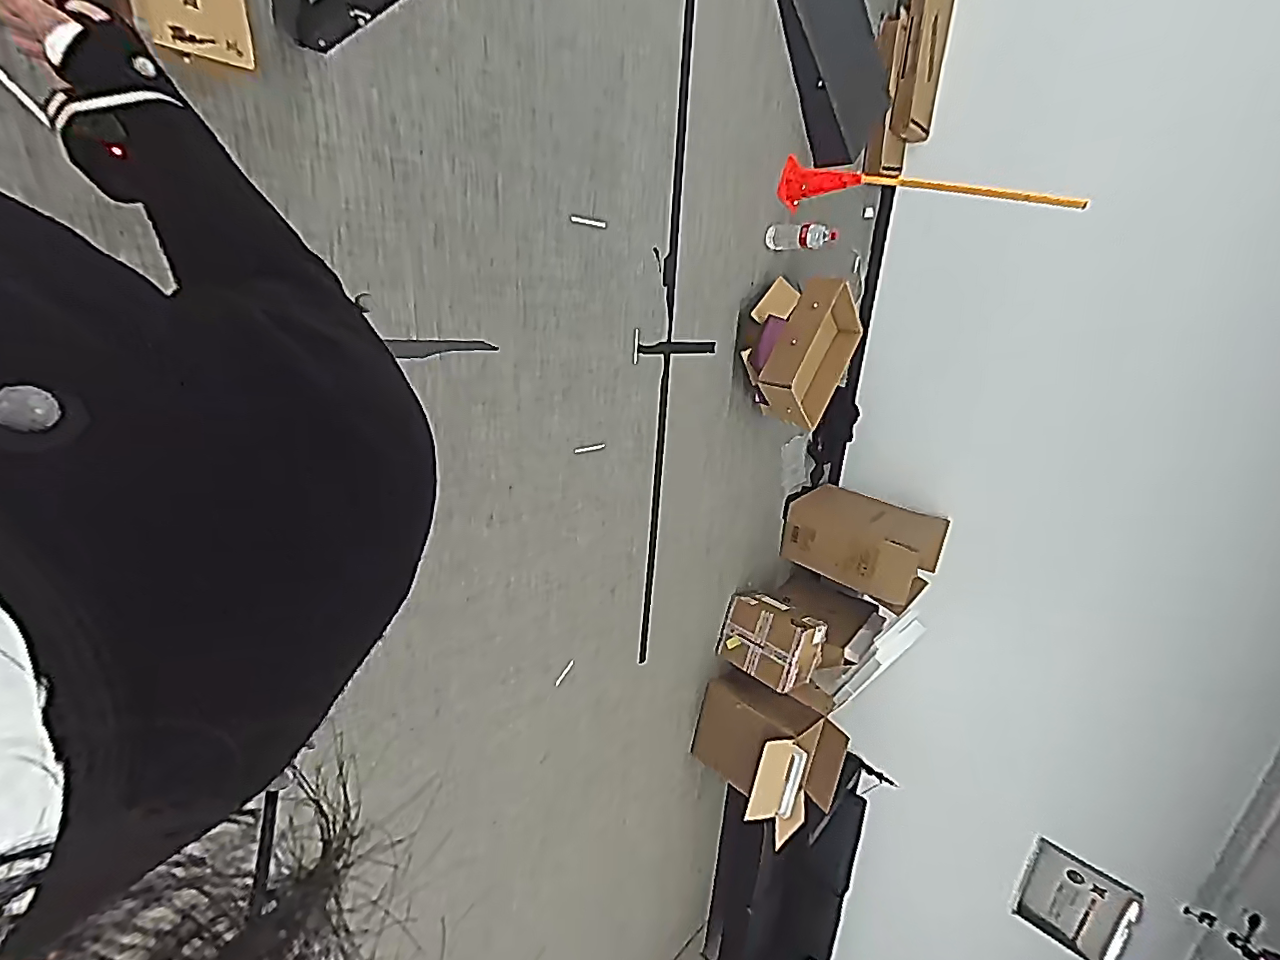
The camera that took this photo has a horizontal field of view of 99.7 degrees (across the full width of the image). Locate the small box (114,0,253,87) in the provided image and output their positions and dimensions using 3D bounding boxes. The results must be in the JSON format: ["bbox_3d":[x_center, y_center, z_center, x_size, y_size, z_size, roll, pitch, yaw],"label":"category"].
[{"bbox_3d":[-0.822,-0.841,0.965,0.168,0.176,0.179,-16,116,-44],"label":"small box"}]

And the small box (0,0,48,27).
[{"bbox_3d":[-1.004,-0.798,0.780,0.179,0.176,0.168,-15,116,-44],"label":"small box"}]
